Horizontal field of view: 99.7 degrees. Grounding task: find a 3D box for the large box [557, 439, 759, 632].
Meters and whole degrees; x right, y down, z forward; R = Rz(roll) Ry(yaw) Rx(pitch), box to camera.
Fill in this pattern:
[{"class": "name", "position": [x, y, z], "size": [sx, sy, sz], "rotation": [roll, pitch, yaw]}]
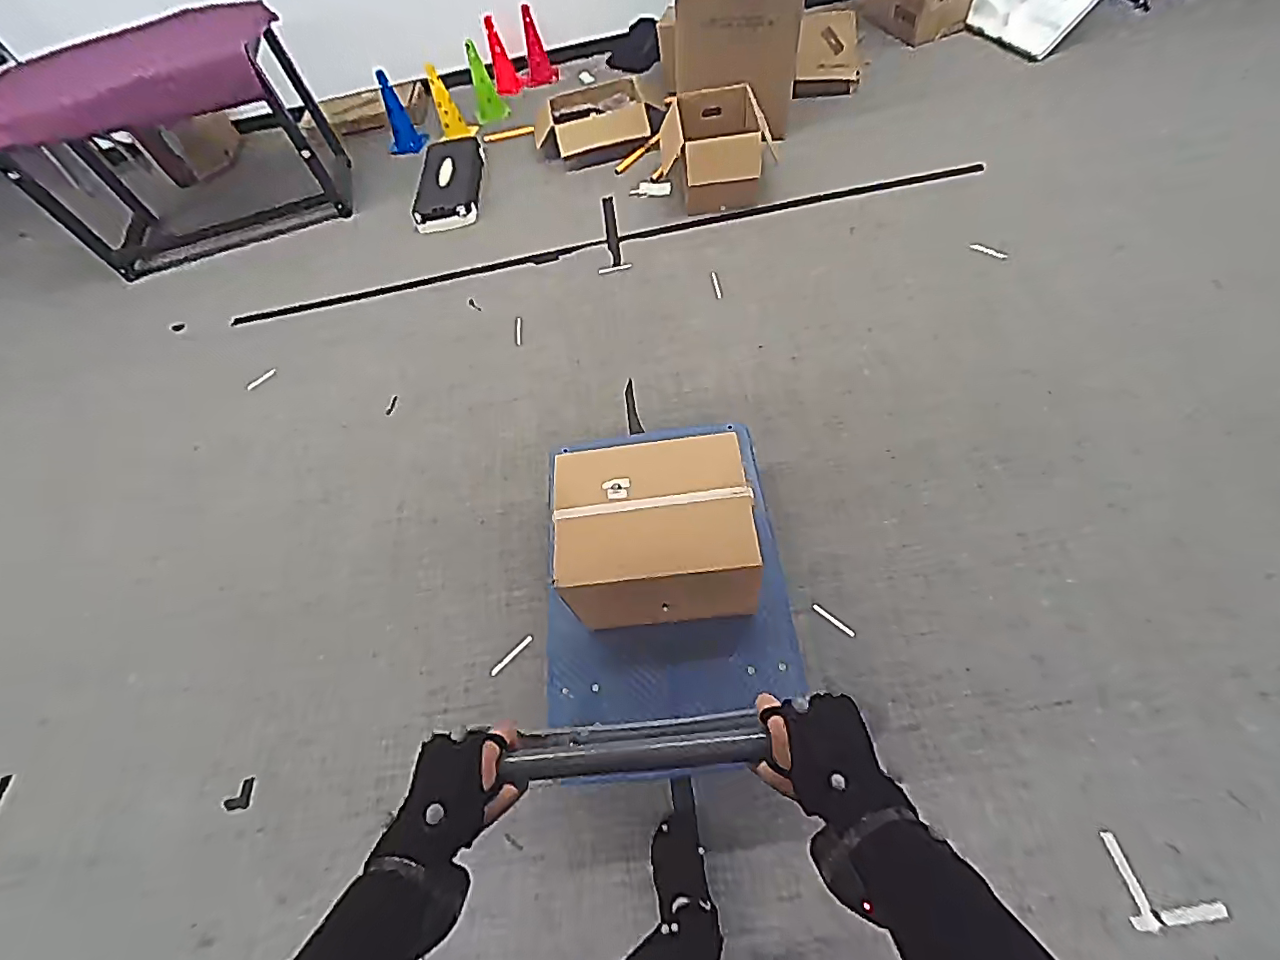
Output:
[{"class": "large box", "position": [0.044, 0.143, 1.255], "size": [0.408, 0.320, 0.320], "rotation": [-8, 58, 5]}]
